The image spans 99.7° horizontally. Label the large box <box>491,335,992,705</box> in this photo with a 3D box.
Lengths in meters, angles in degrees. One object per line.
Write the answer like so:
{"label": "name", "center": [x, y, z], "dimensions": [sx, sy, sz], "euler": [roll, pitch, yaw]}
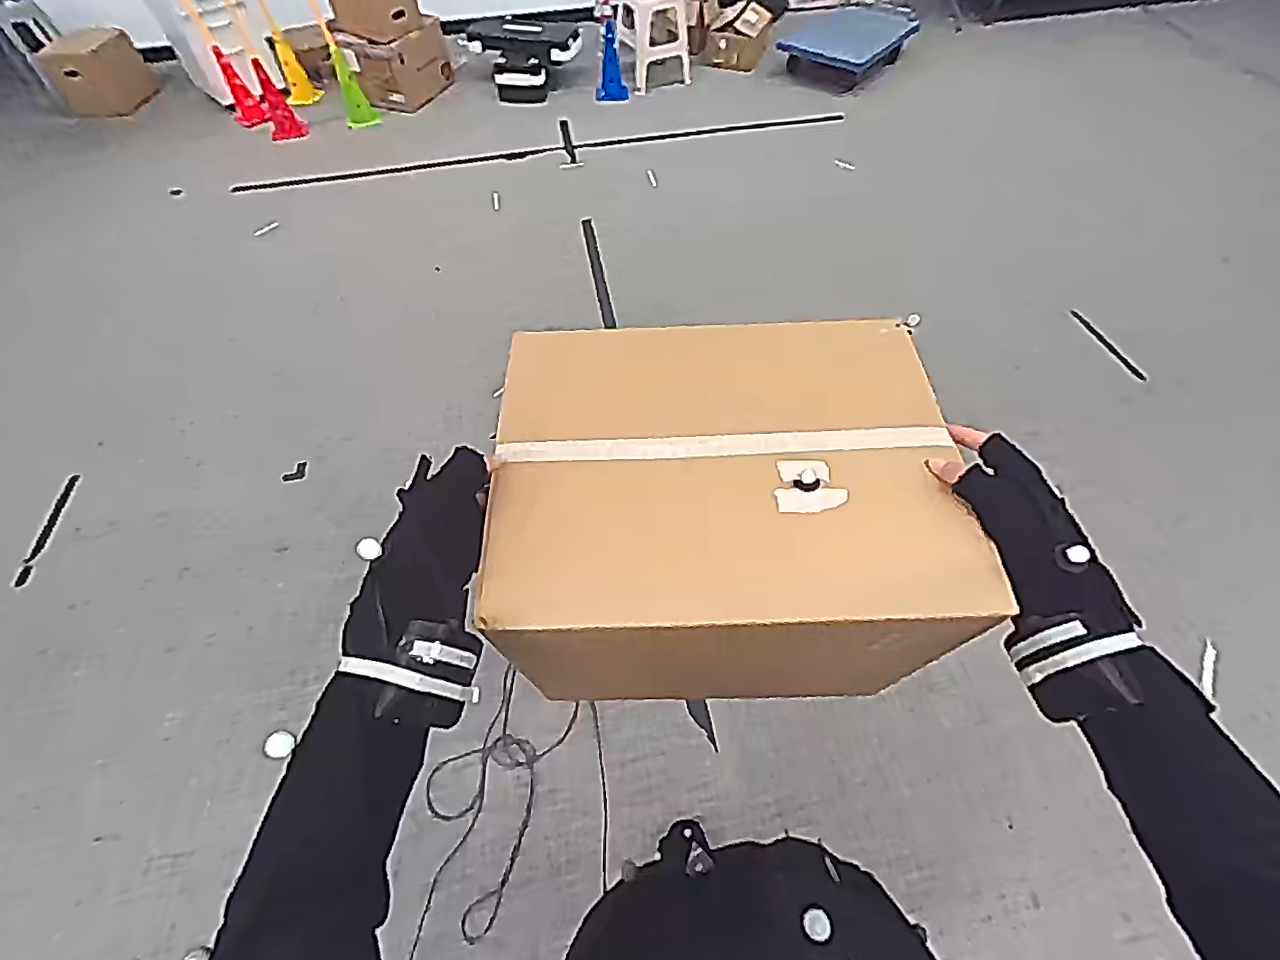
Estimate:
{"label": "large box", "center": [0.076, 0.061, 0.625], "dimensions": [0.408, 0.320, 0.320], "euler": [-2, 58, 0]}
